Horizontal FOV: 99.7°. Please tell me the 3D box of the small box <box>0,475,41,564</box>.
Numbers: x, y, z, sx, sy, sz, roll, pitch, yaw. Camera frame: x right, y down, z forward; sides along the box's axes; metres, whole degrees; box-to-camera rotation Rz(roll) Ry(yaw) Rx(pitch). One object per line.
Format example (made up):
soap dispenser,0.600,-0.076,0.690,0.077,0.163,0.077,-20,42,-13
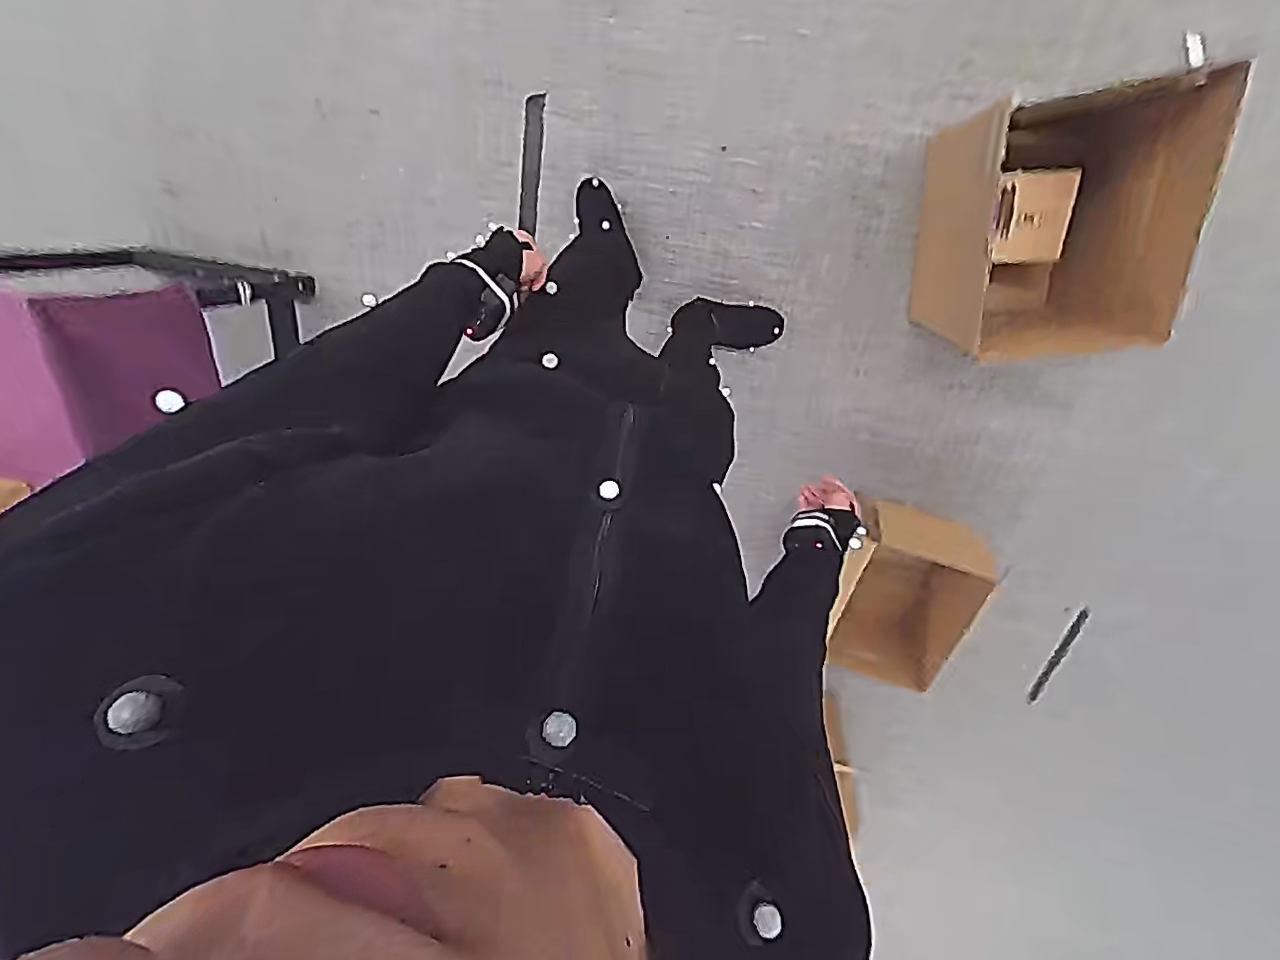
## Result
small box,-1.404,0.087,1.109,0.179,0.176,0.168,8,116,8
